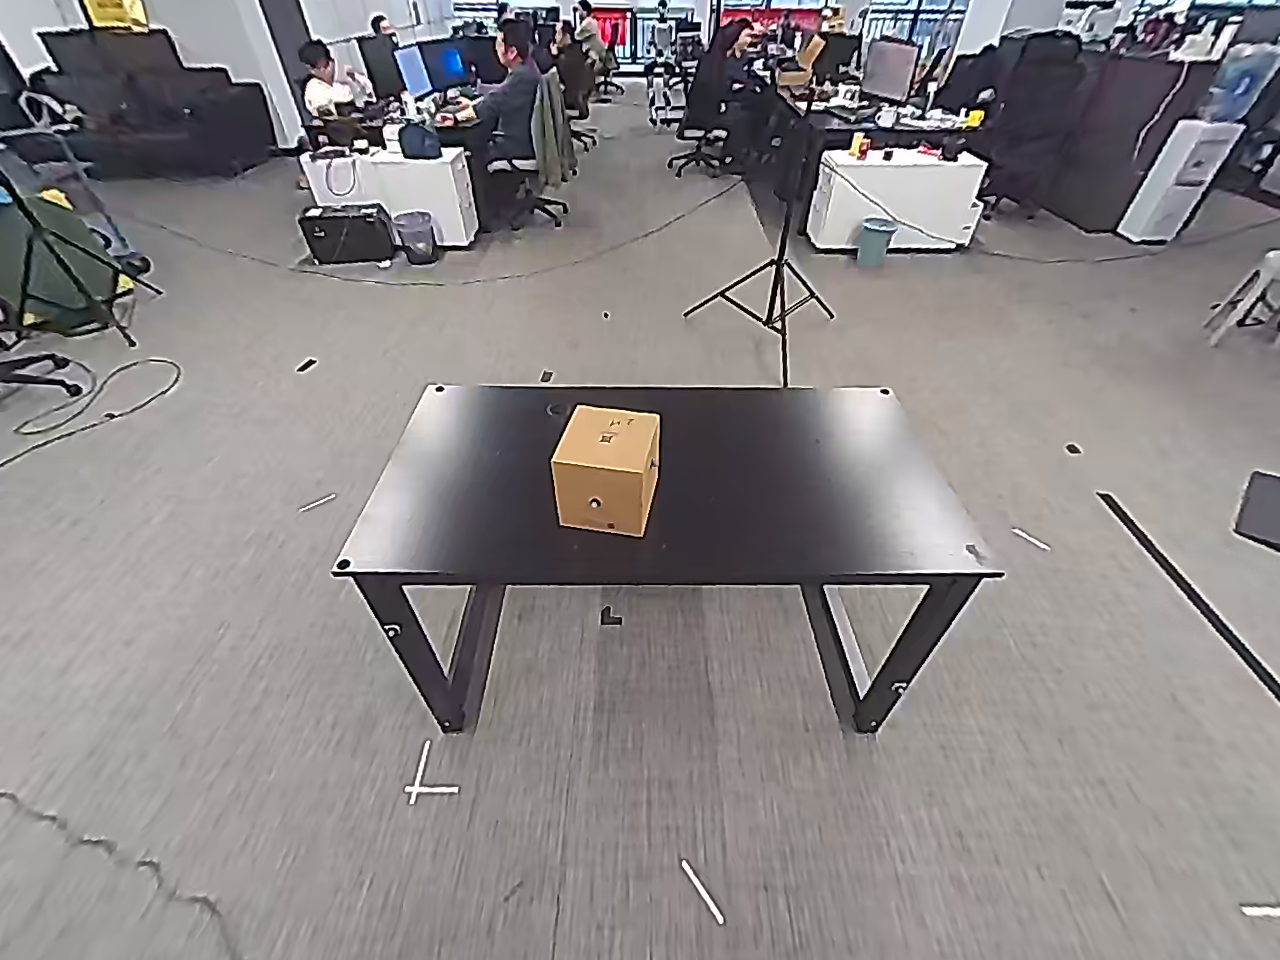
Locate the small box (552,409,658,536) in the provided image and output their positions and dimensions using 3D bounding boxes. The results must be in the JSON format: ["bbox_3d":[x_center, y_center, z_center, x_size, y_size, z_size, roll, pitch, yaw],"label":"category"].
[{"bbox_3d":[-0.059,-0.013,1.051,0.168,0.176,0.179,8,42,8],"label":"small box"}]
